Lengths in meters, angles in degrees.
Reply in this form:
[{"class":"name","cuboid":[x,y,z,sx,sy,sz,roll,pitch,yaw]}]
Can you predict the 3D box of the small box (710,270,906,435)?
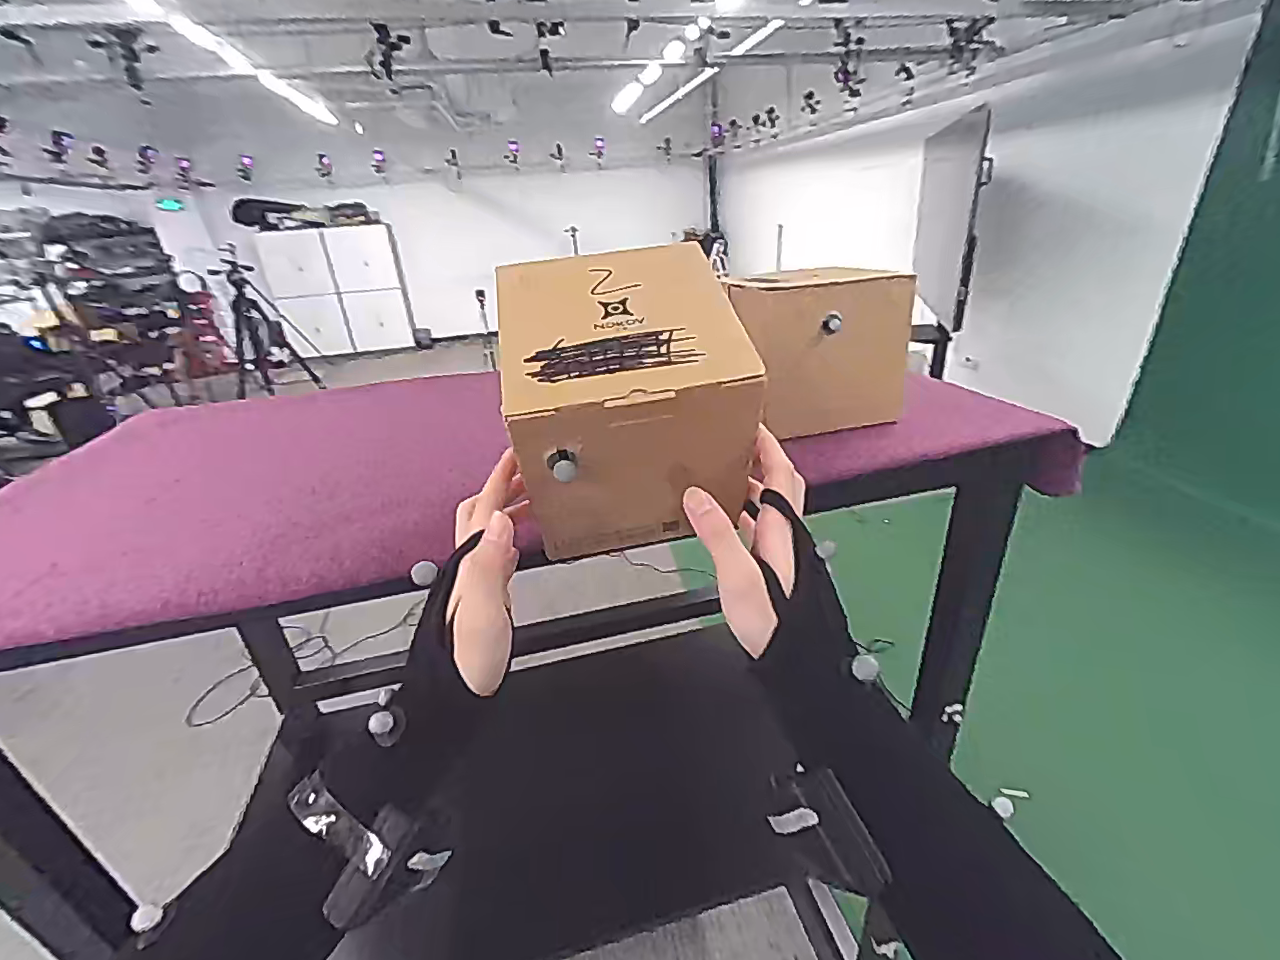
[{"class":"small box","cuboid":[0.198,-0.162,0.677,0.179,0.176,0.168,-9,26,-10]}]
